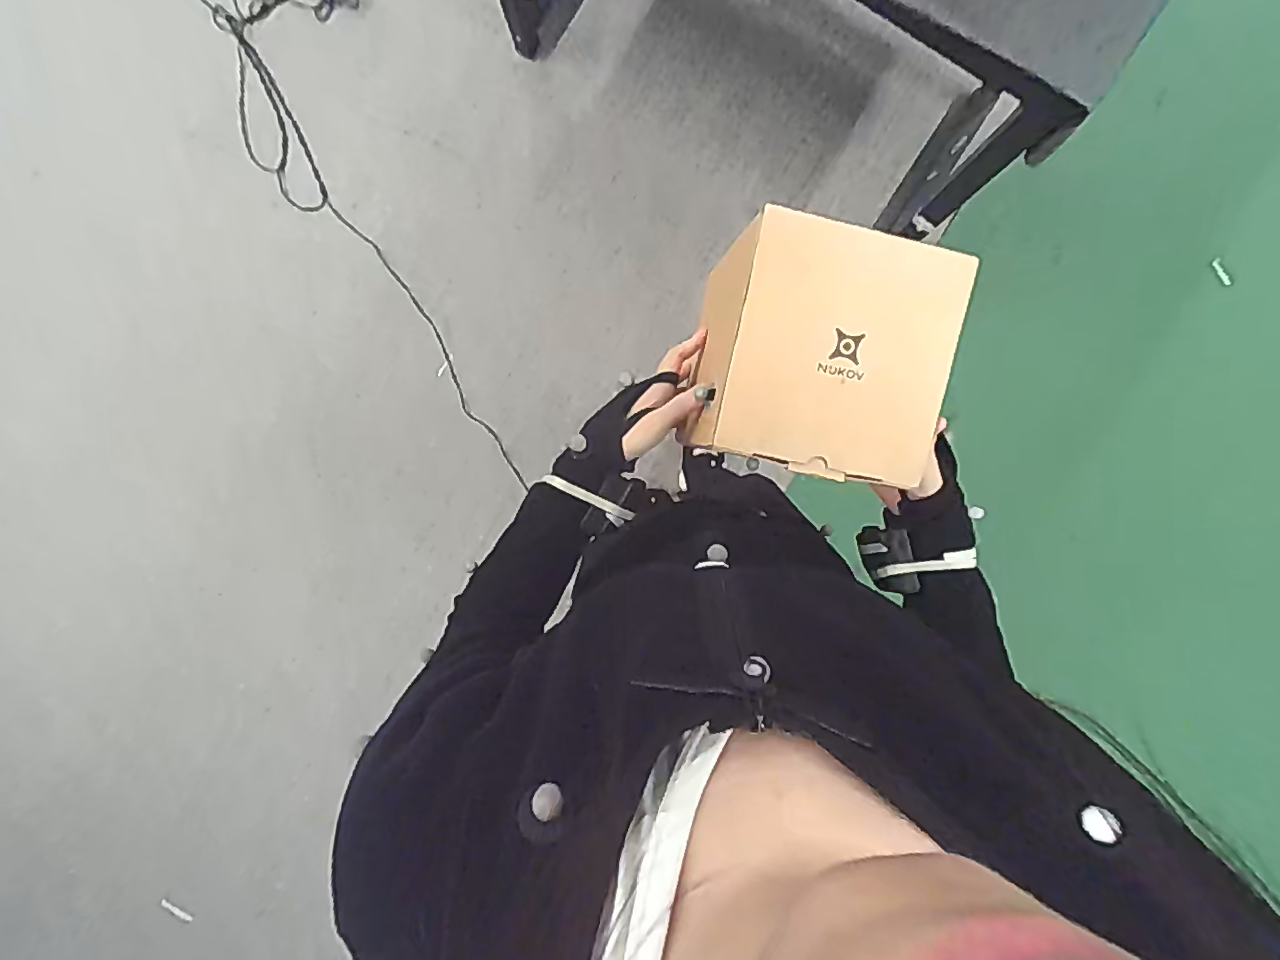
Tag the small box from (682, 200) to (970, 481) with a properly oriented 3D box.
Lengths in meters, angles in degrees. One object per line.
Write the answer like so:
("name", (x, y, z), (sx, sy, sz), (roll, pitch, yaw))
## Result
("small box", (0.141, -0.108, 0.476), (0.168, 0.176, 0.179), (11, 96, -6))
